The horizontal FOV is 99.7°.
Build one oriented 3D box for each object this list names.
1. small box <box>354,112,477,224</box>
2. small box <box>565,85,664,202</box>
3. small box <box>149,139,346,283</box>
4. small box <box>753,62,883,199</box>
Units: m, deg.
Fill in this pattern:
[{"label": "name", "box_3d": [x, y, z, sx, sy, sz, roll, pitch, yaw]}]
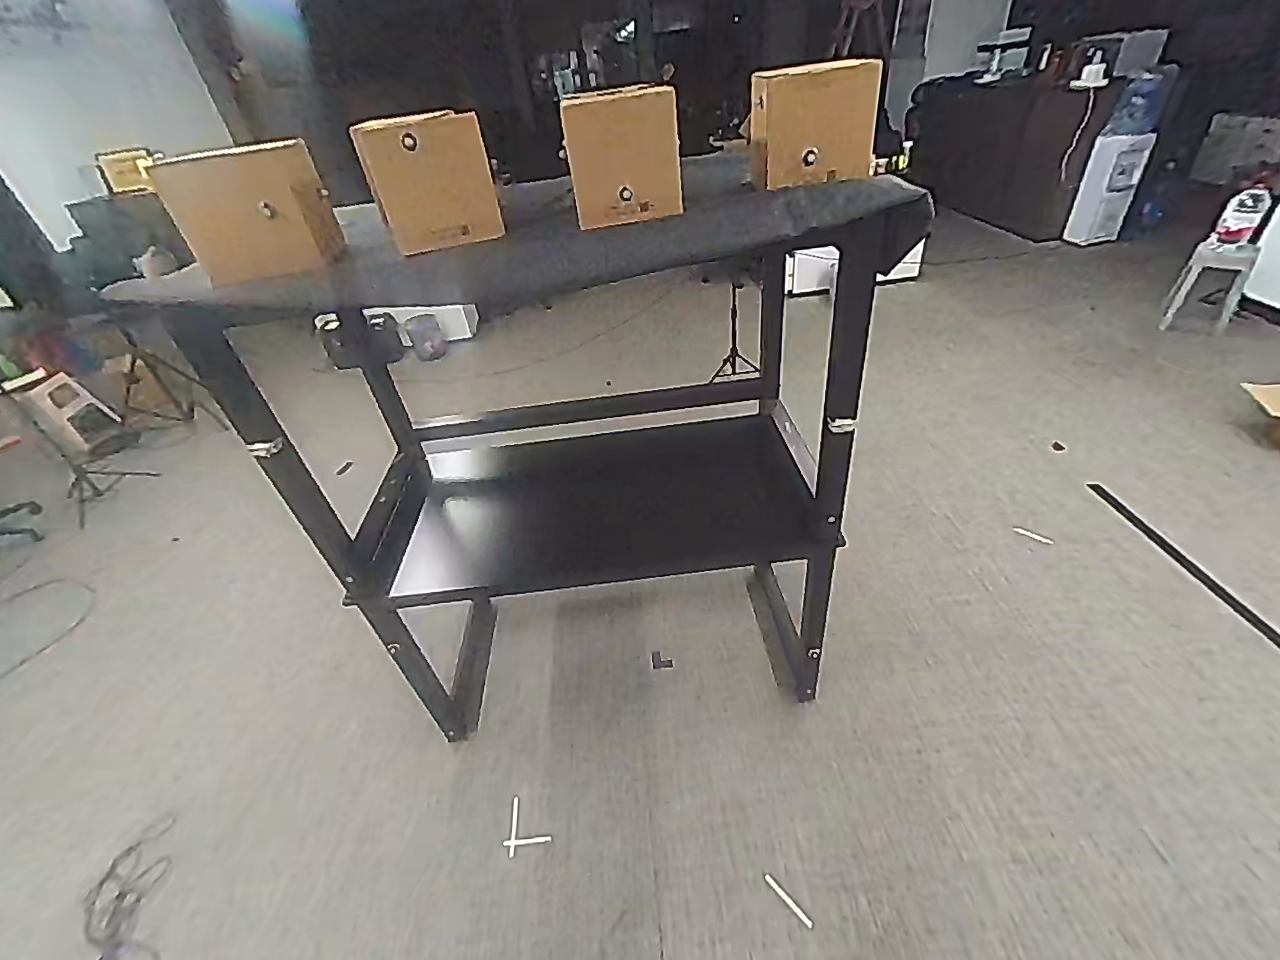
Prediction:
[{"label": "small box", "box_3d": [-0.439, -0.630, 1.094, 0.168, 0.176, 0.179, -9, 38, -1]}, {"label": "small box", "box_3d": [-0.049, -0.654, 1.057, 0.168, 0.176, 0.179, -9, 37, -1]}, {"label": "small box", "box_3d": [-0.604, -0.432, 0.866, 0.179, 0.176, 0.168, -12, 37, -7]}, {"label": "small box", "box_3d": [0.282, -0.581, 0.903, 0.168, 0.176, 0.179, -5, 38, 5]}]
